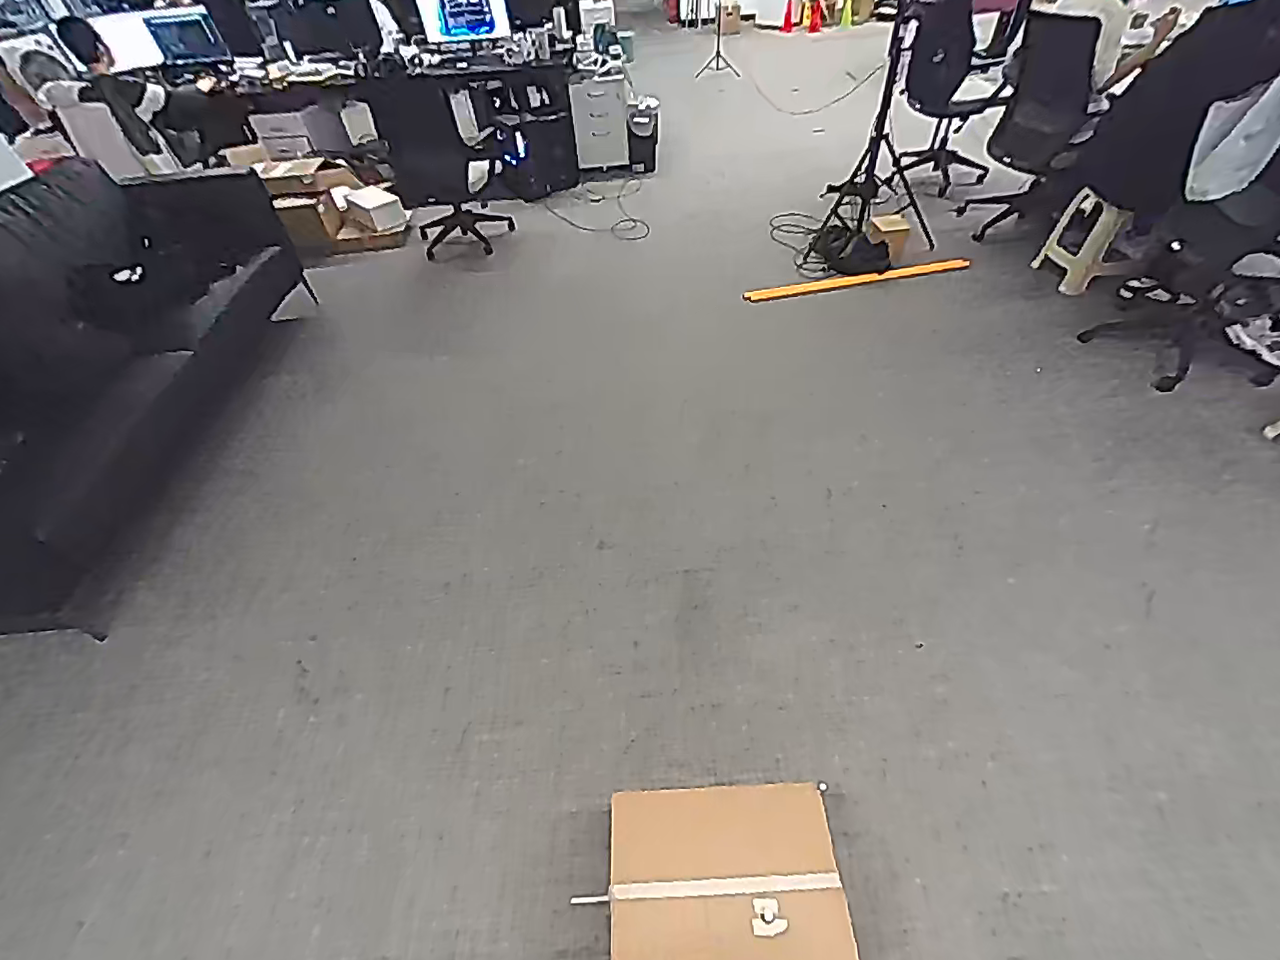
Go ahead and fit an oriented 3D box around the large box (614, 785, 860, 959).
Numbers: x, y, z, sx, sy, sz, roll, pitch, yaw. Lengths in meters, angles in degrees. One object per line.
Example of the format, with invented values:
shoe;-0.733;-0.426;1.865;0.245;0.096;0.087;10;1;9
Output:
large box;0.163;0.819;1.051;0.408;0.320;0.320;-4;47;2
